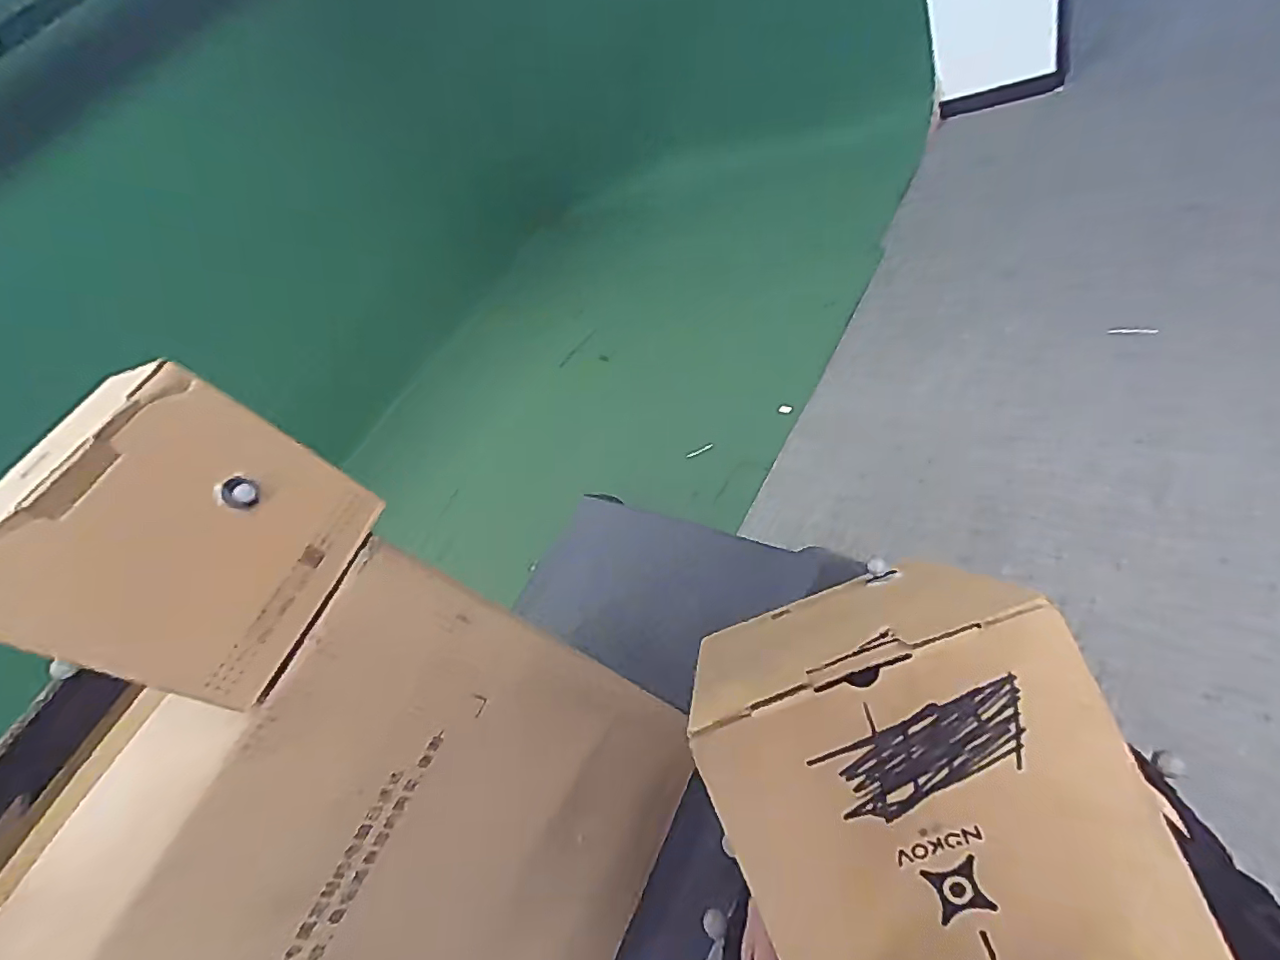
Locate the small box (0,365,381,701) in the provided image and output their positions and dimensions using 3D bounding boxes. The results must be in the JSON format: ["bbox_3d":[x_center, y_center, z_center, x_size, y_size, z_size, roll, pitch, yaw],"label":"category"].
[{"bbox_3d":[-0.331,0.041,0.391,0.179,0.176,0.168,2,56,38],"label":"small box"}]
